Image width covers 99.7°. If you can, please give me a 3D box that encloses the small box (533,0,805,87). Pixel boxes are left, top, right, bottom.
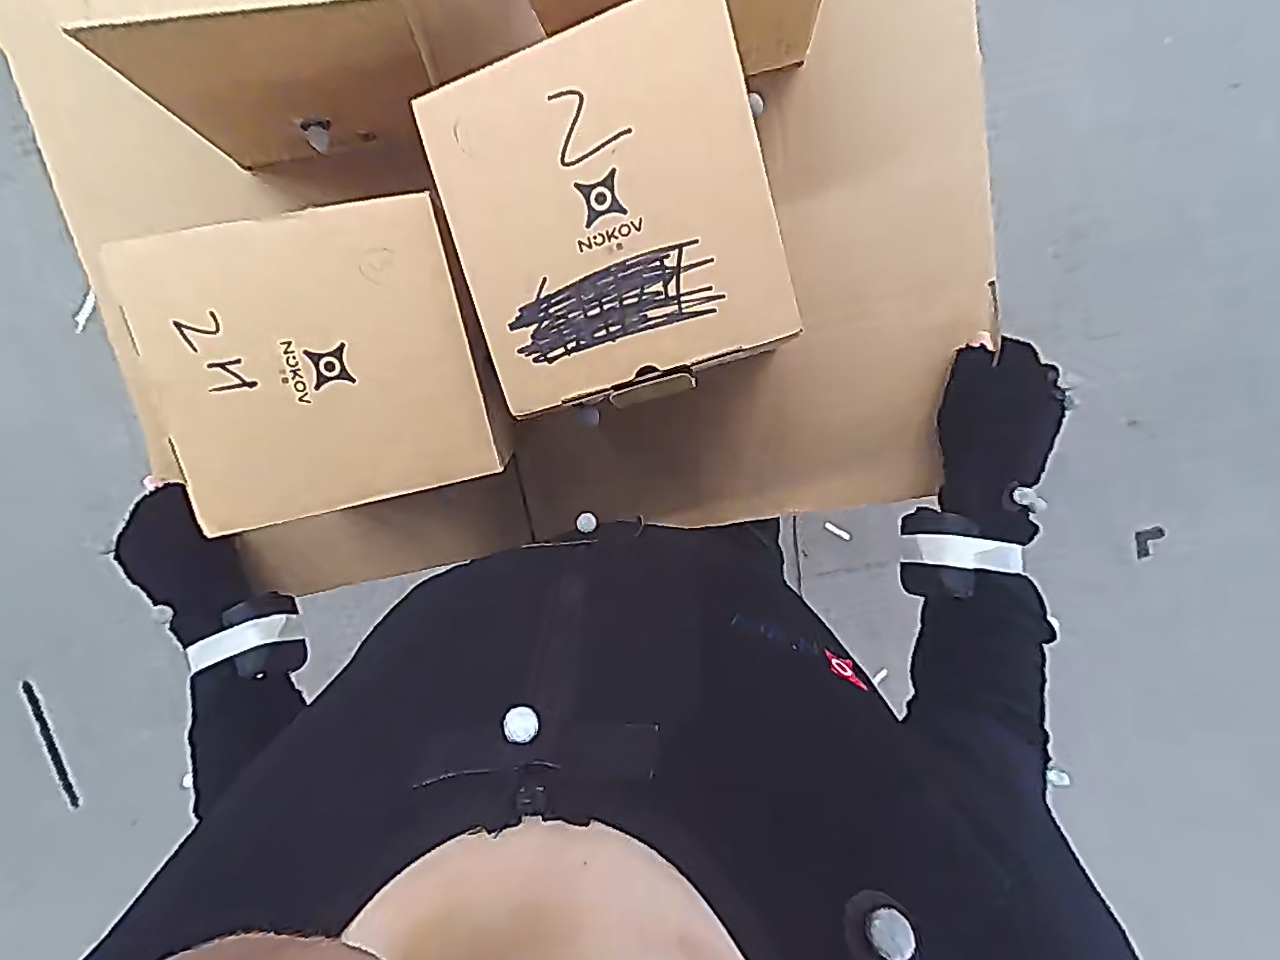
[{"bbox_3d":[0.012,-0.369,0.315,0.168,0.176,0.179,-7,99,11],"label":"small box"}]
